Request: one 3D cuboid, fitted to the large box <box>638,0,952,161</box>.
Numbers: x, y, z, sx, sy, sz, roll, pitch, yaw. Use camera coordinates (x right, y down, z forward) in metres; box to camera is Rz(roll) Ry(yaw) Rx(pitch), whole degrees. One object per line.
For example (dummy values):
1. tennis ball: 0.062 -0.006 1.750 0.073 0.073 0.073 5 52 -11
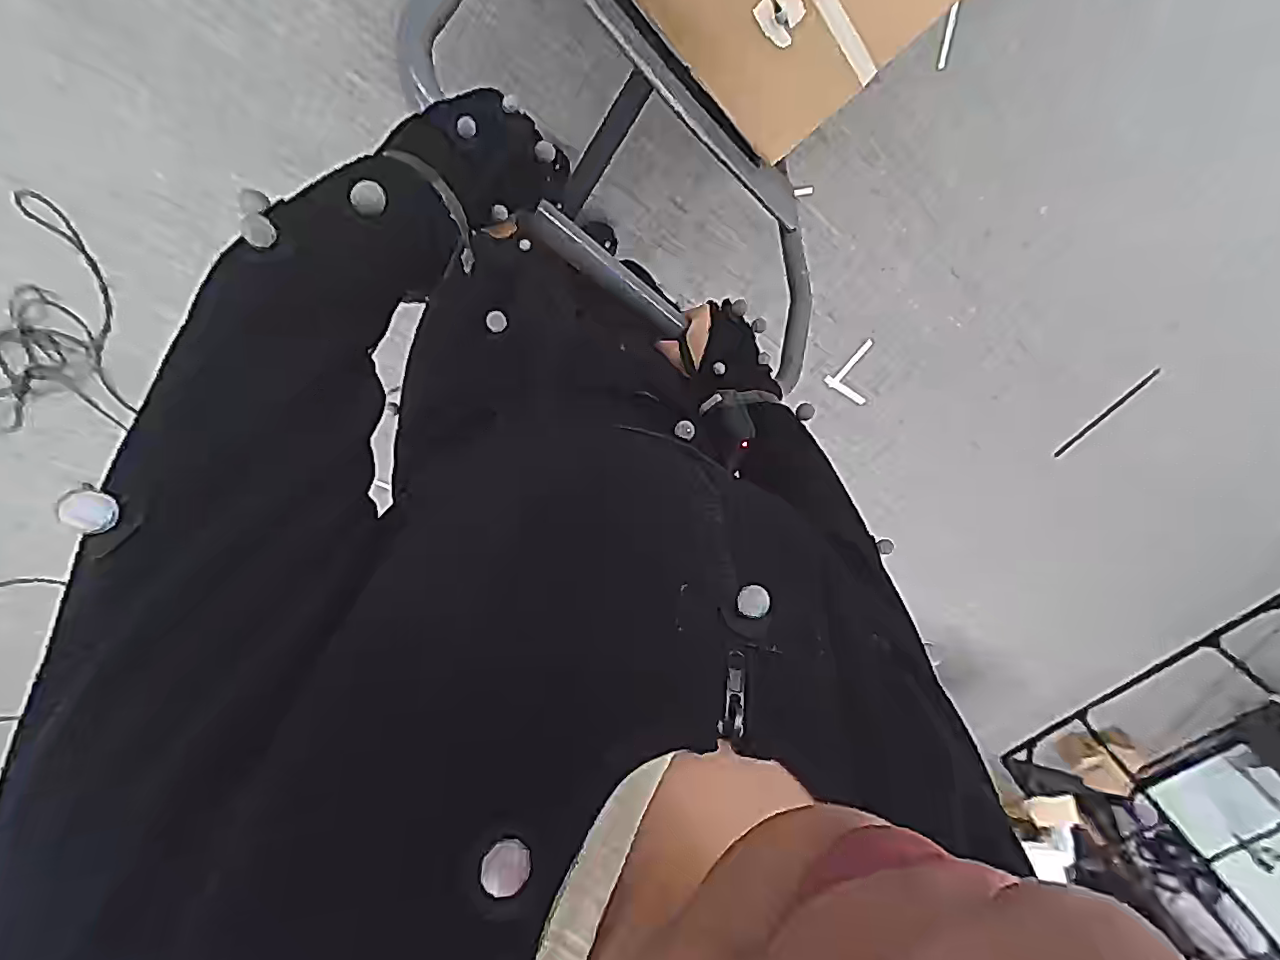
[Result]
1. large box: 0.150 -0.719 0.666 0.320 0.320 0.408 -30 134 35
